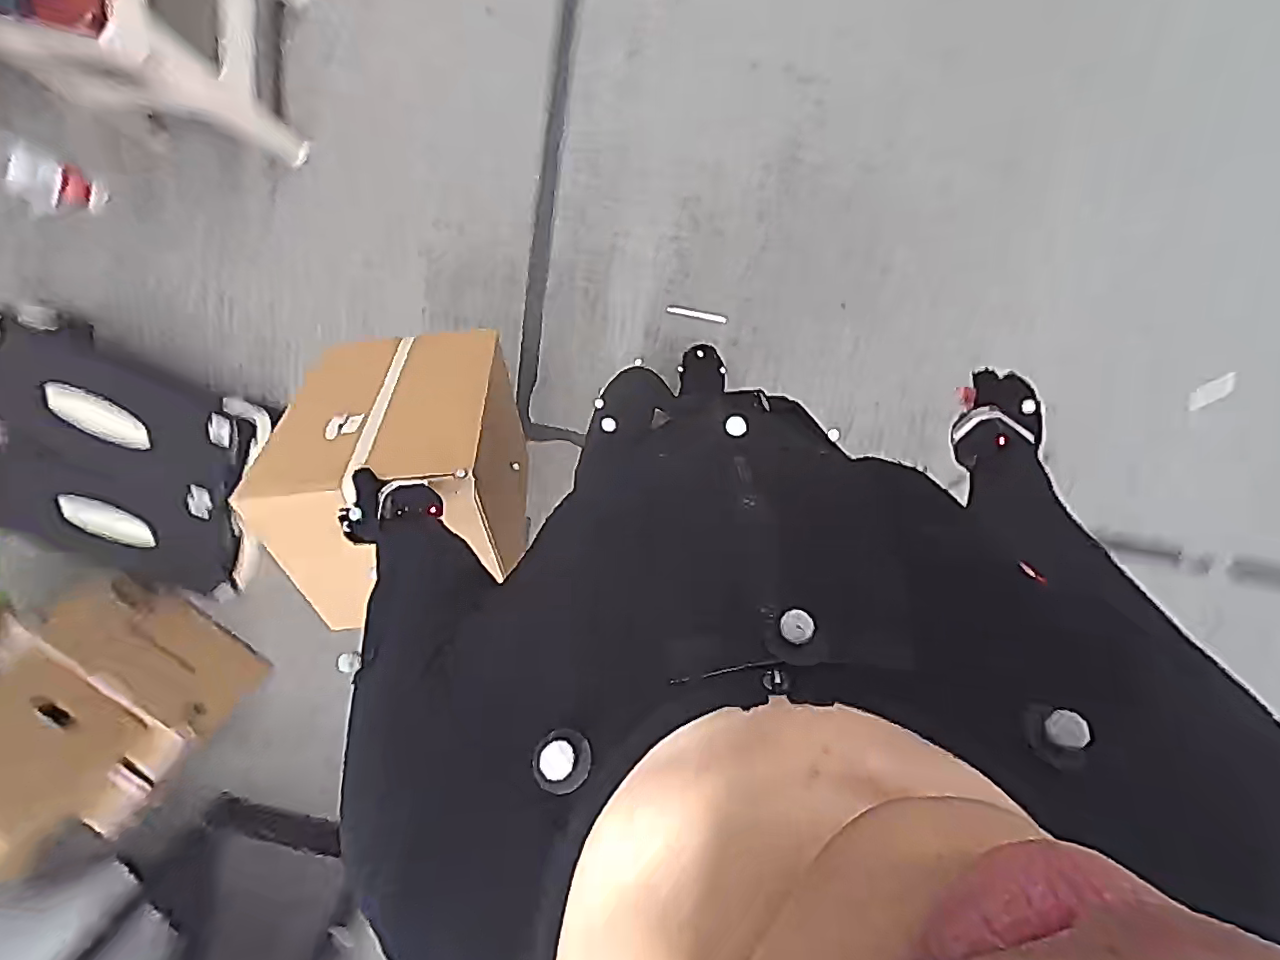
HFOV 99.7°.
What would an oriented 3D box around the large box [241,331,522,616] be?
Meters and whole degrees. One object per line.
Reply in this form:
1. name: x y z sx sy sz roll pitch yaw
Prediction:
1. large box: -0.396 -0.023 0.964 0.320 0.408 0.320 -6 134 -2
